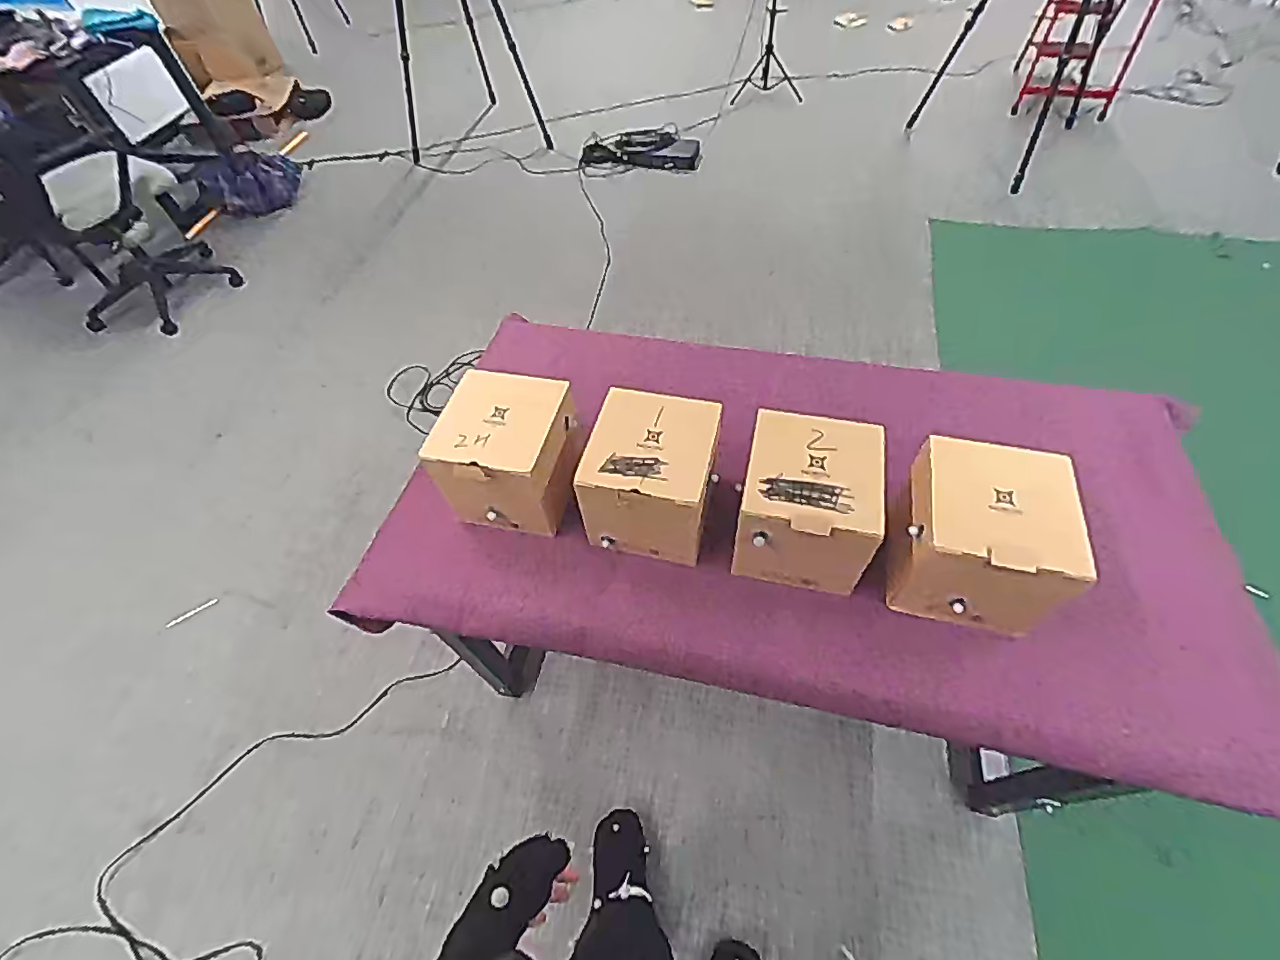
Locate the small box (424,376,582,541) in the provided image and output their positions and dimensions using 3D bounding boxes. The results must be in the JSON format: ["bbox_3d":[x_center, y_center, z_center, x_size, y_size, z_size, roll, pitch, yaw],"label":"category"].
[{"bbox_3d":[-0.194,-0.031,0.832,0.168,0.176,0.179,9,55,11],"label":"small box"}]

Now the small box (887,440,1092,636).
[{"bbox_3d":[0.433,0.077,0.705,0.168,0.176,0.179,11,55,12],"label":"small box"}]
